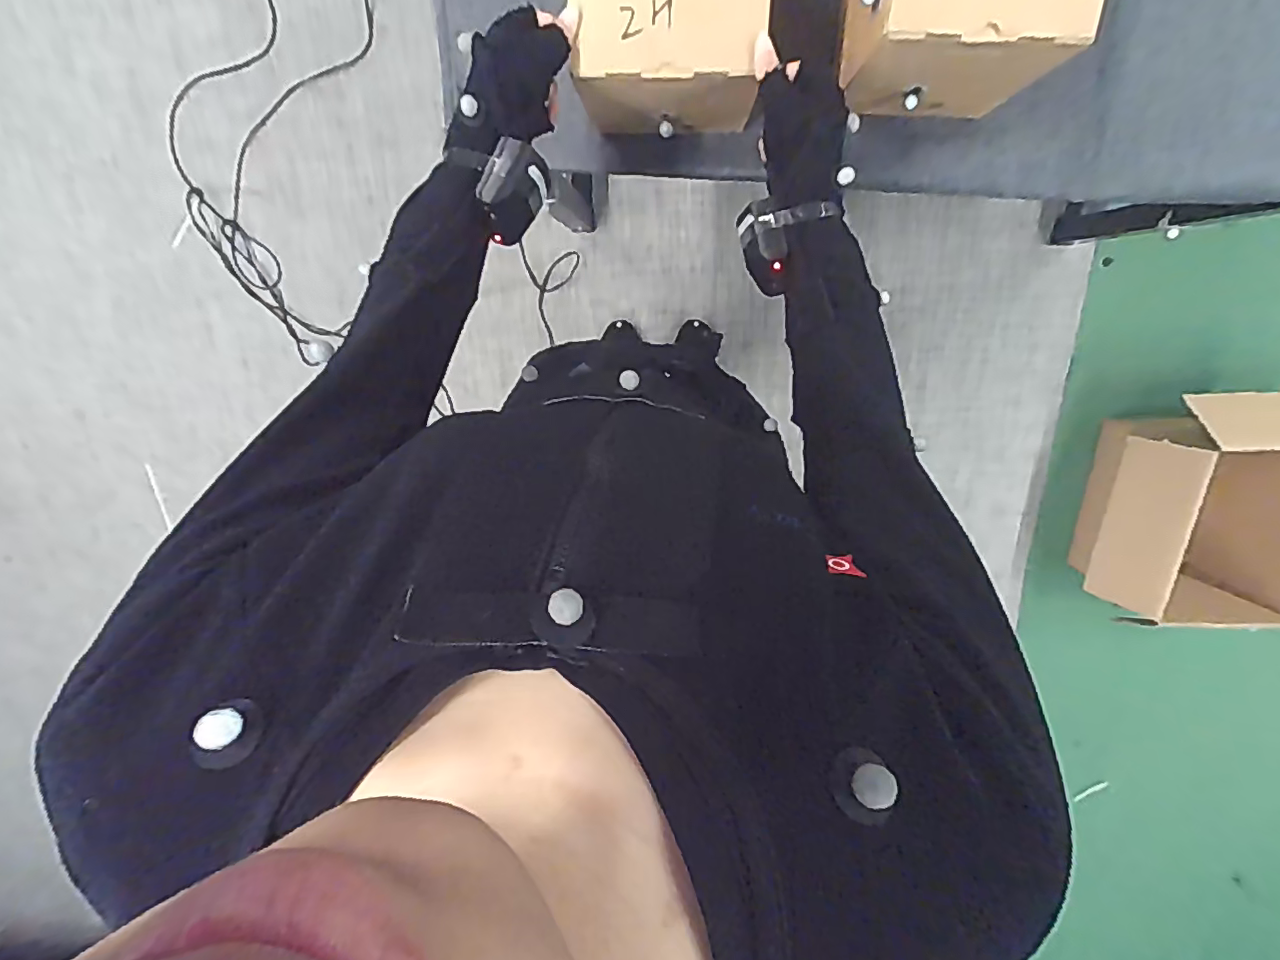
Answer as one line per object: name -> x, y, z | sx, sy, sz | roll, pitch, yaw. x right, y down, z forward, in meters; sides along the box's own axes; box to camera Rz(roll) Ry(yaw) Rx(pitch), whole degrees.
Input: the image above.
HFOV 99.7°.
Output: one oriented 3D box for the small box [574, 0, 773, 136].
small box -> 0.031, -0.448, 0.506 | 0.168, 0.176, 0.179 | 1, 109, 3
